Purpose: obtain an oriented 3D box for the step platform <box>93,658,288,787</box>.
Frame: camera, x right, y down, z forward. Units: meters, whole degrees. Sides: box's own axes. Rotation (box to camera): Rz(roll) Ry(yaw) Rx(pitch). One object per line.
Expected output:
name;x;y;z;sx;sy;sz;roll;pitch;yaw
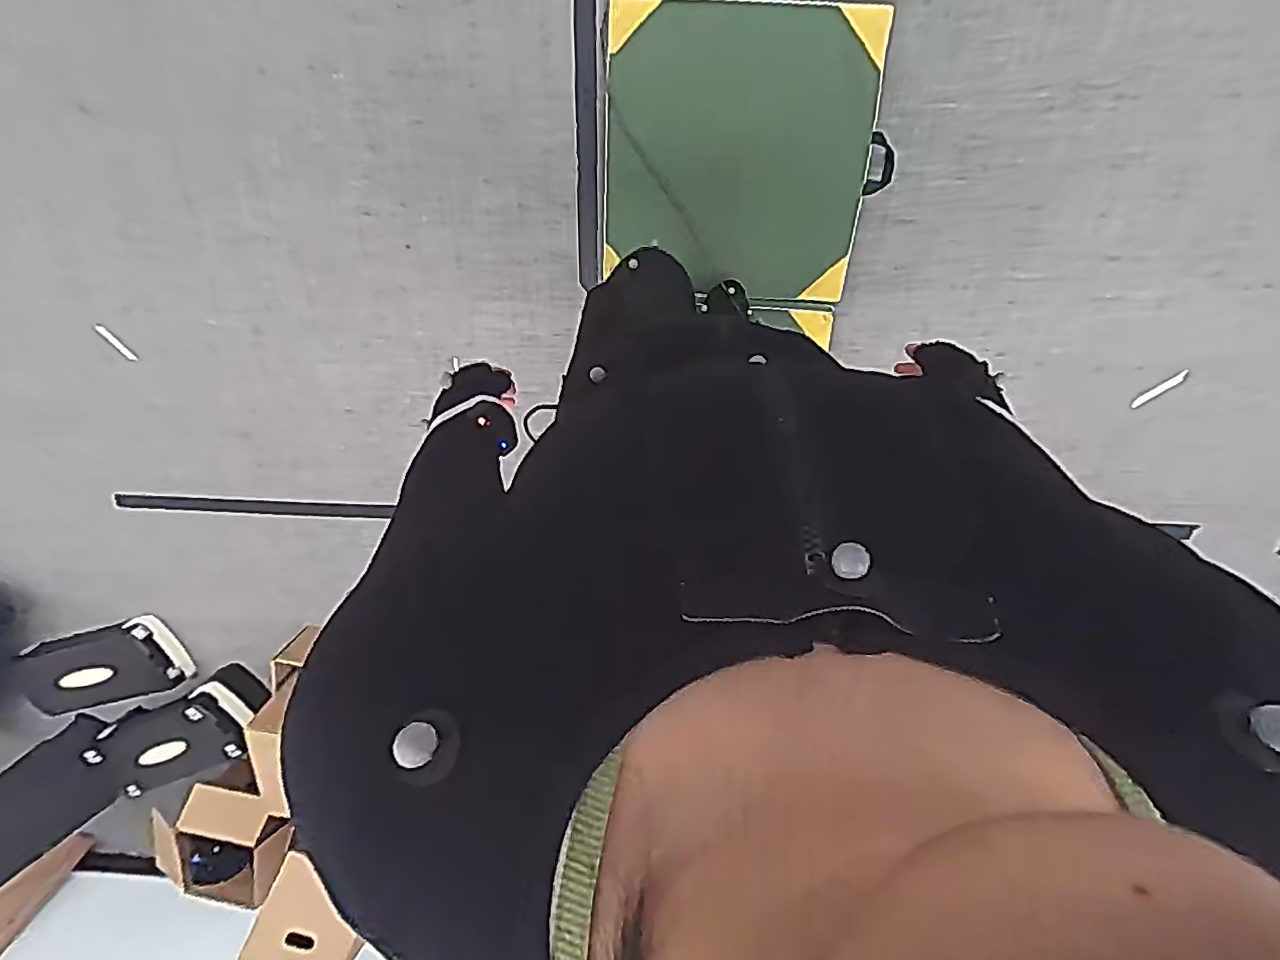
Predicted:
step platform;-1.736;0.945;2.088;0.684;0.204;0.286;-25;110;14
